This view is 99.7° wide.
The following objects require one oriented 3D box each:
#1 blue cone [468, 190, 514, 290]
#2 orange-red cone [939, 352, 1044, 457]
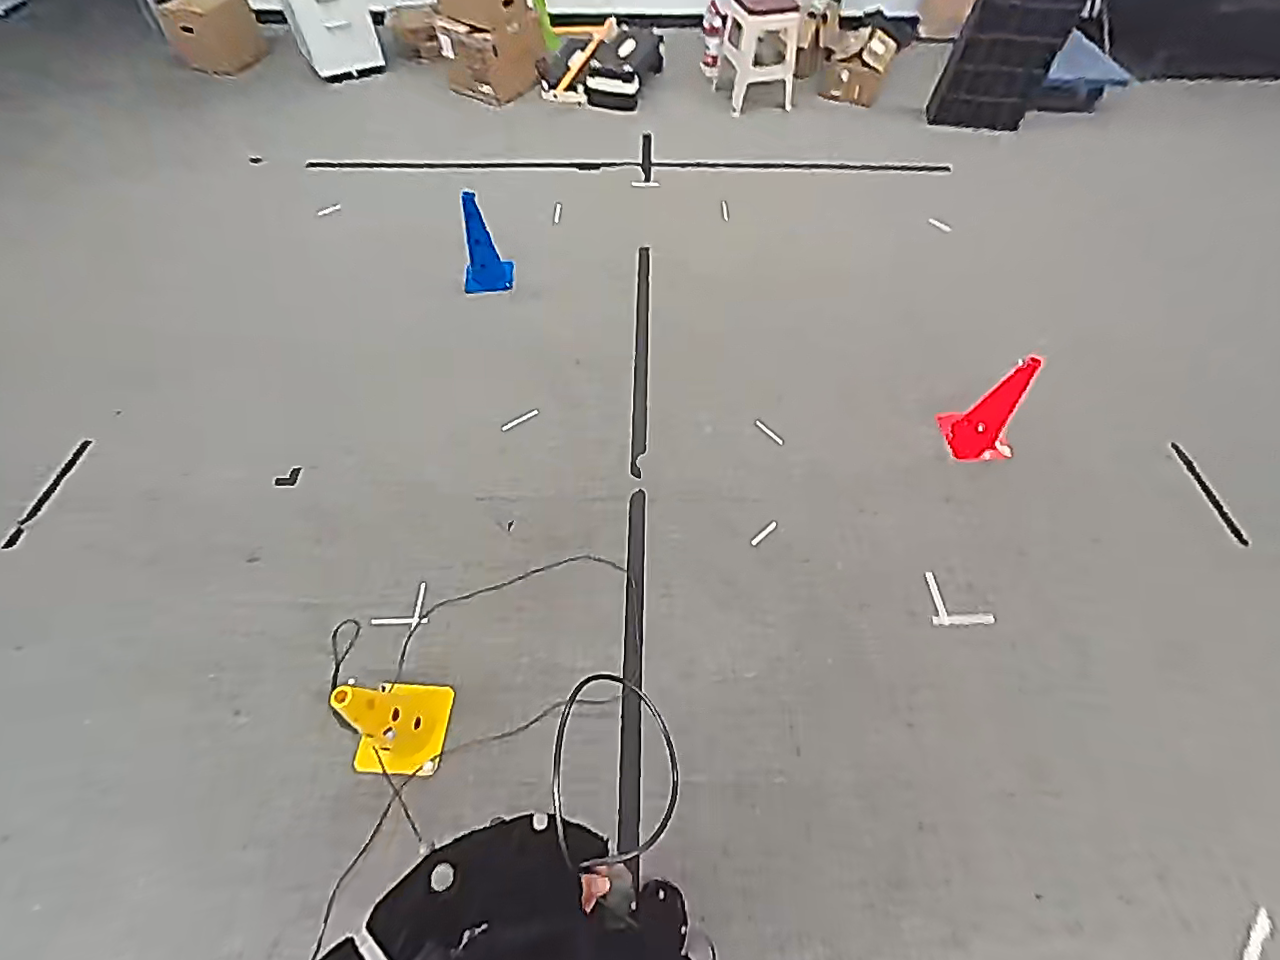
[{"bbox_3d":[-0.630,-0.961,2.155,0.192,0.380,0.193,-3,56,-3],"label":"blue cone"},{"bbox_3d":[1.137,-0.255,1.693,0.198,0.360,0.199,-2,55,-3],"label":"orange-red cone"}]
